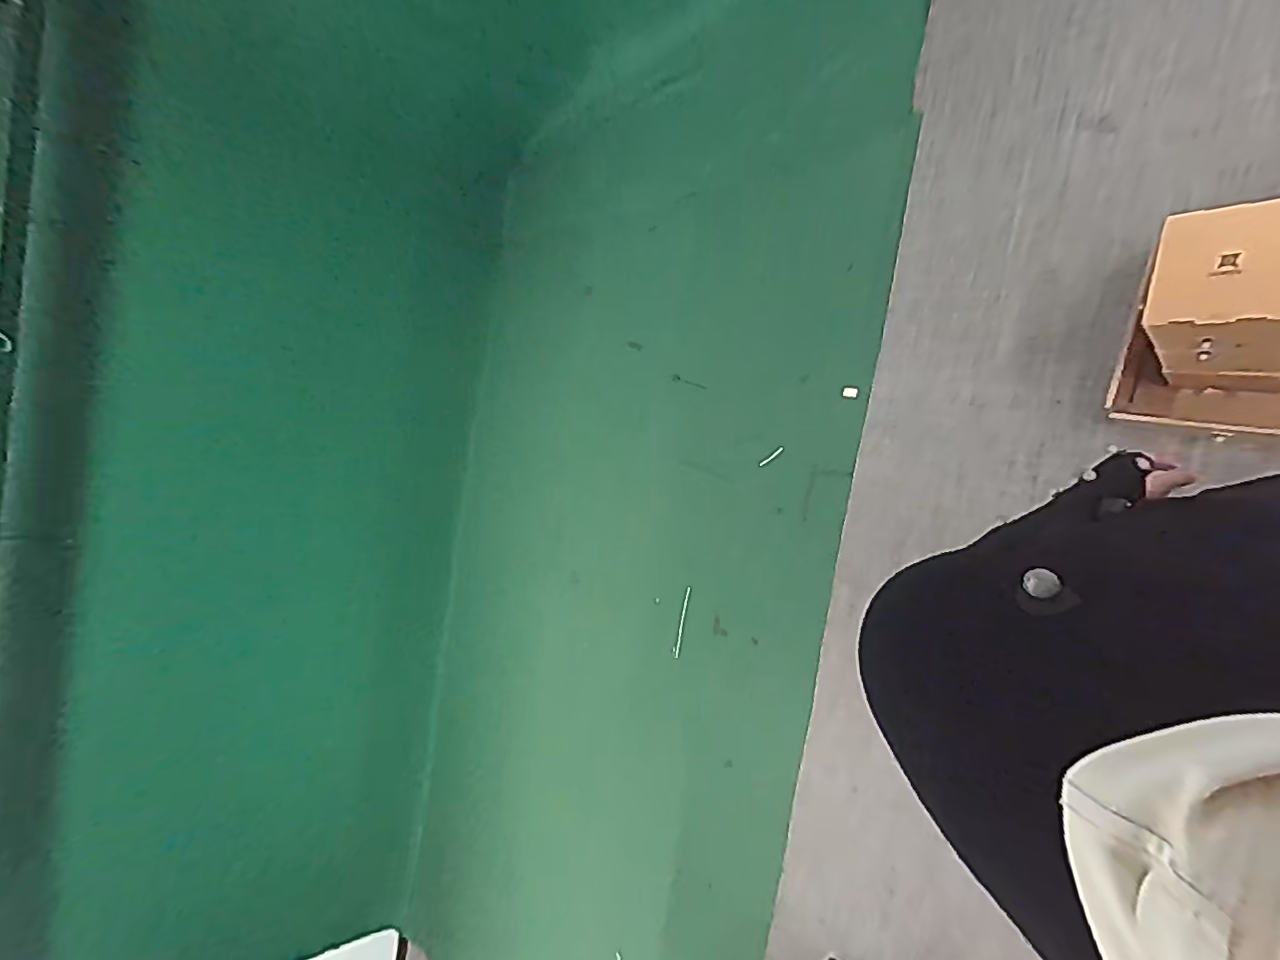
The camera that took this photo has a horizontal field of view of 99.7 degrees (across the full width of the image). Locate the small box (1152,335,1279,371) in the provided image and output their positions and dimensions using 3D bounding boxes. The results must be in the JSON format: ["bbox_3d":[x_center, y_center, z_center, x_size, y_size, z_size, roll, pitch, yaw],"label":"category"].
[{"bbox_3d":[1.051,-0.302,0.958,0.168,0.176,0.179,16,96,51],"label":"small box"}]

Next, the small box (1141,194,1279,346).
[{"bbox_3d":[0.929,-0.320,0.853,0.168,0.176,0.179,14,96,50],"label":"small box"}]
